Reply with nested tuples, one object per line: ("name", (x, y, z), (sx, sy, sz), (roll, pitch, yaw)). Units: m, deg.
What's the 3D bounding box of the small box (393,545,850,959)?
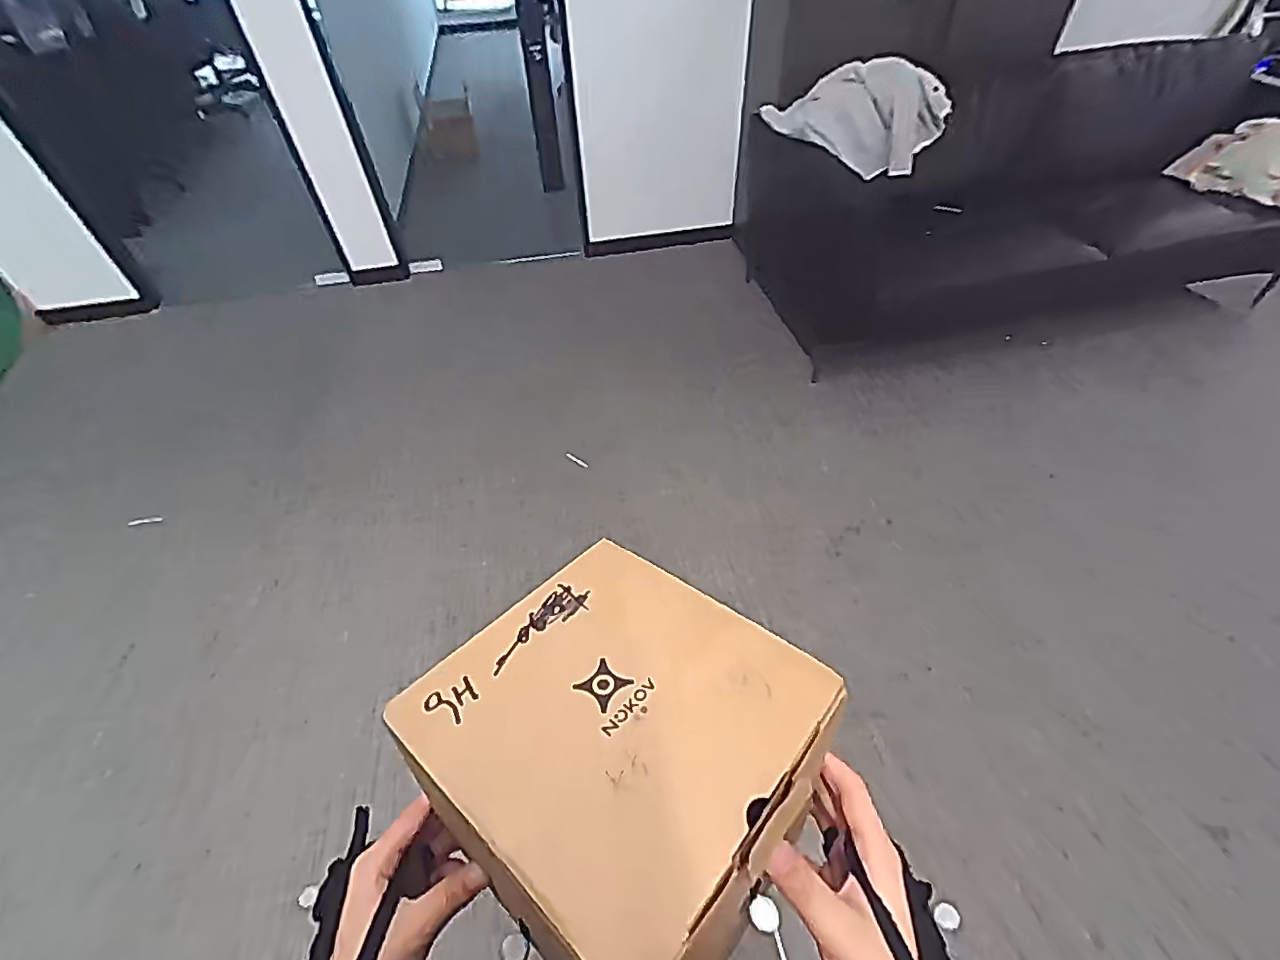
("small box", (-0.008, 0.178, 0.323), (0.179, 0.176, 0.168), (28, 46, 34))
